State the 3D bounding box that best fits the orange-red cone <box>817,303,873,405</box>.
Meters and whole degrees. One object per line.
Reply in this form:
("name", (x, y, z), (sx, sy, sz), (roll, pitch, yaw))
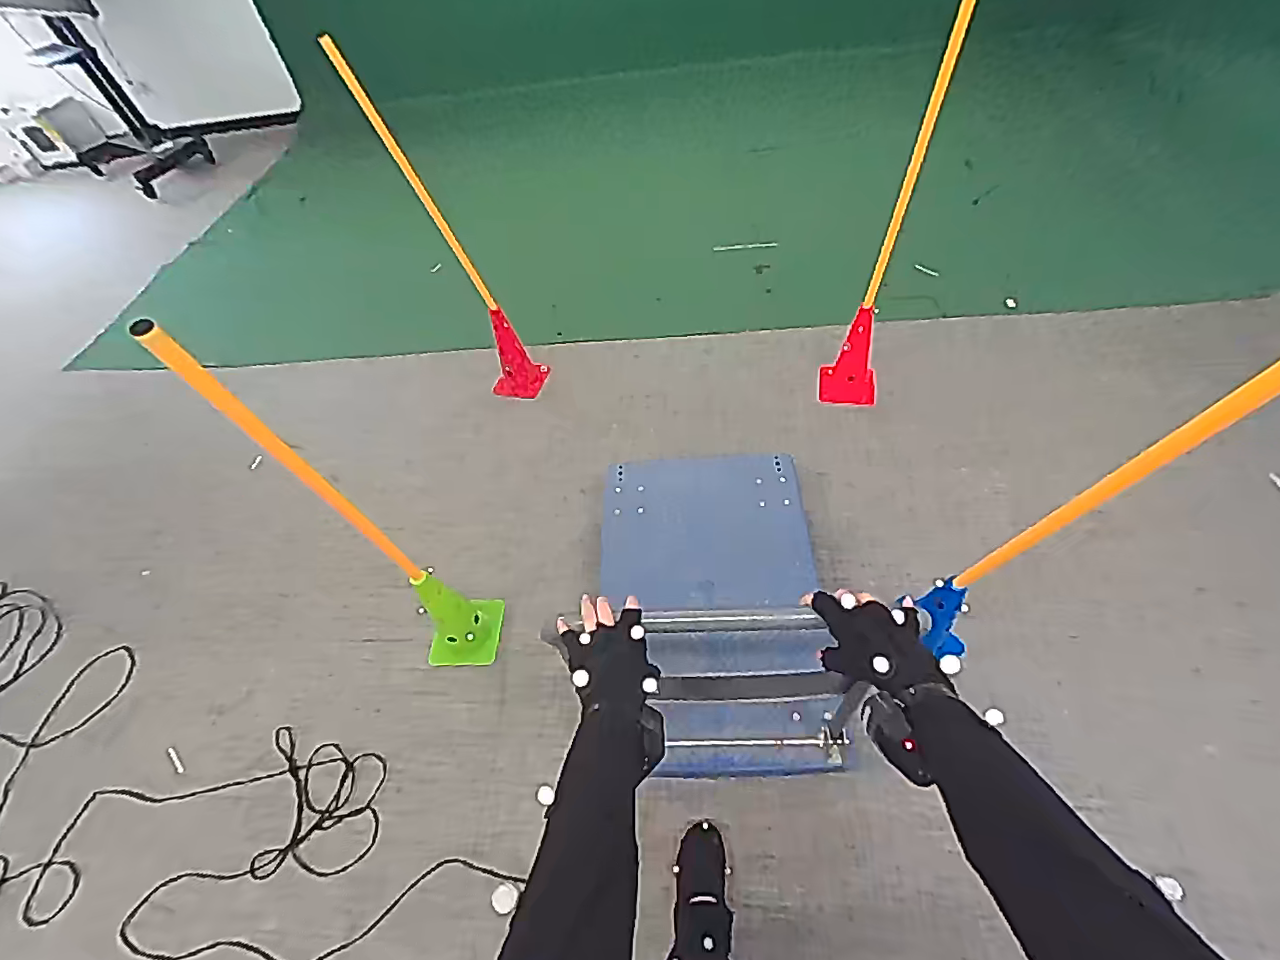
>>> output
("orange-red cone", (0.751, -0.459, 1.899), (0.198, 0.360, 0.199), (7, 55, 13))
